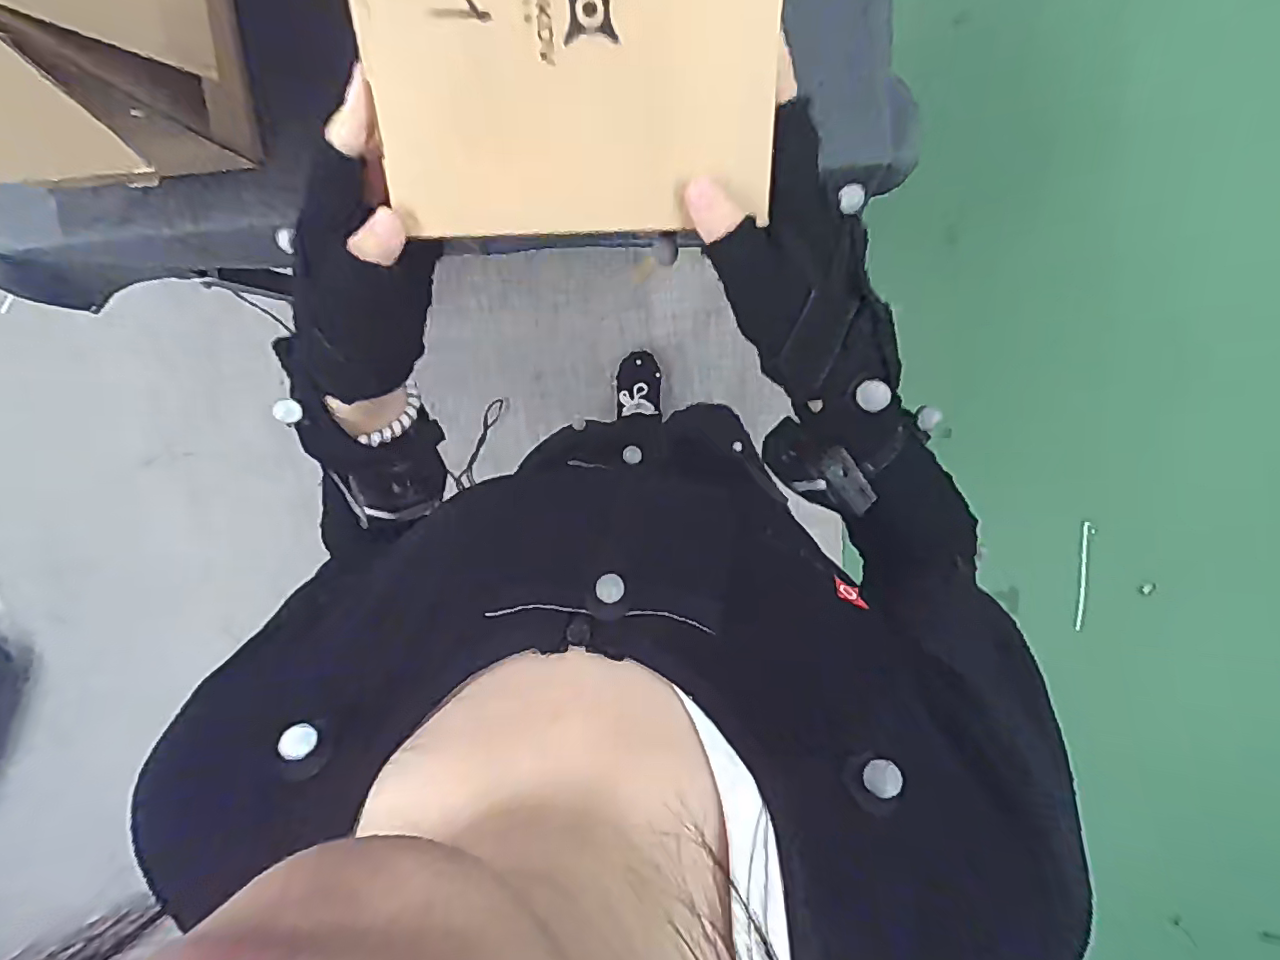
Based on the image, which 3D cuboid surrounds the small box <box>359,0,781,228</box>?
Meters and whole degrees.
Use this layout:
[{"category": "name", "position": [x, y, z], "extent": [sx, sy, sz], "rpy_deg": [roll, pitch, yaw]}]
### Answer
[{"category": "small box", "position": [-0.032, -0.230, 0.294], "extent": [0.179, 0.176, 0.168], "rpy_deg": [-2, 115, -3]}]
